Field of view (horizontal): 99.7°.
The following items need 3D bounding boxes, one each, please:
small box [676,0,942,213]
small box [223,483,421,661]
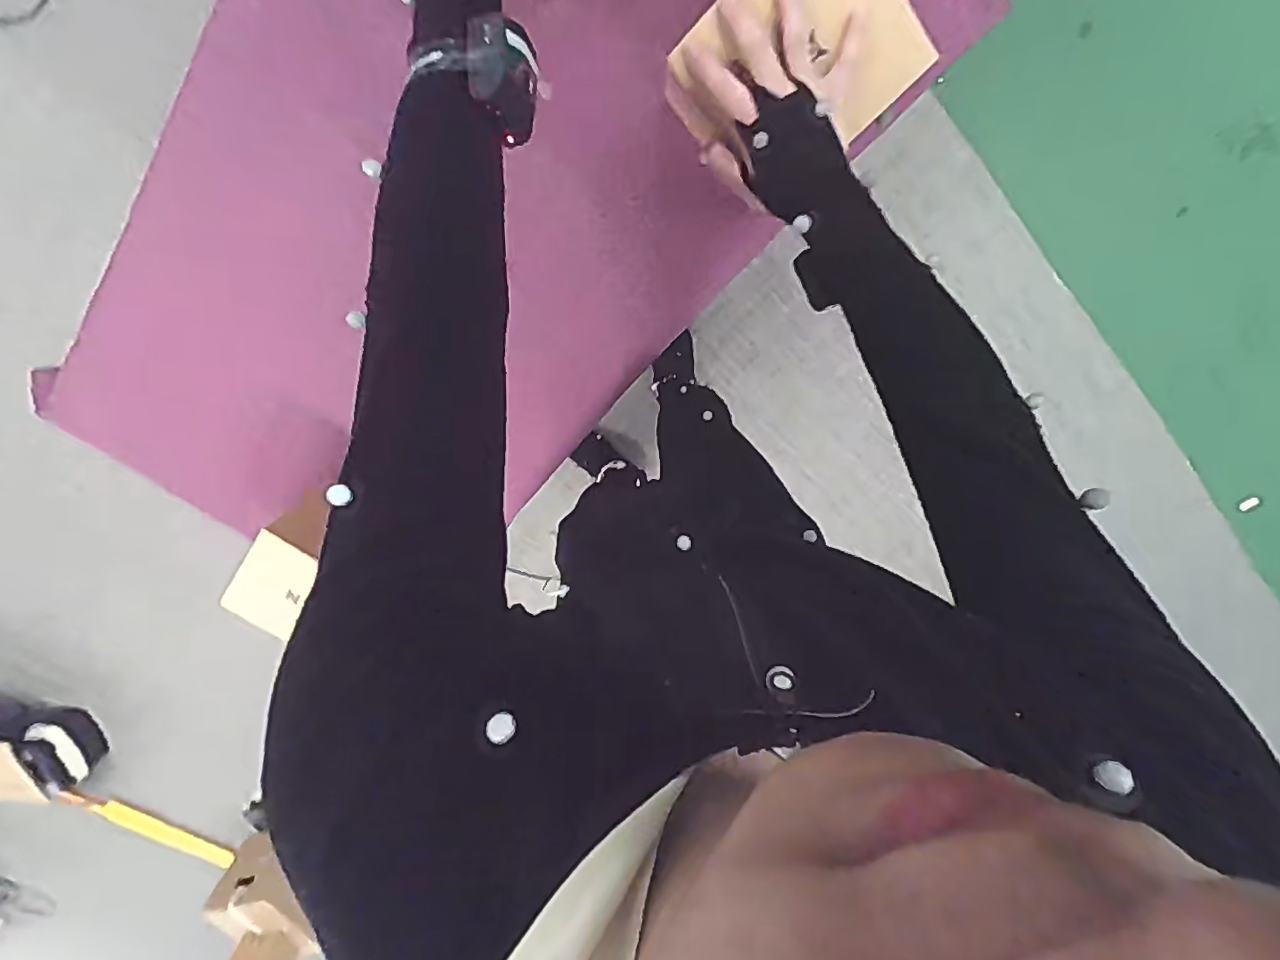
[{"bbox_3d":[0.147,-0.397,0.538,0.179,0.176,0.168,-39,109,20],"label":"small box"},{"bbox_3d":[-0.477,0.135,0.838,0.179,0.176,0.168,38,112,-13],"label":"small box"}]
